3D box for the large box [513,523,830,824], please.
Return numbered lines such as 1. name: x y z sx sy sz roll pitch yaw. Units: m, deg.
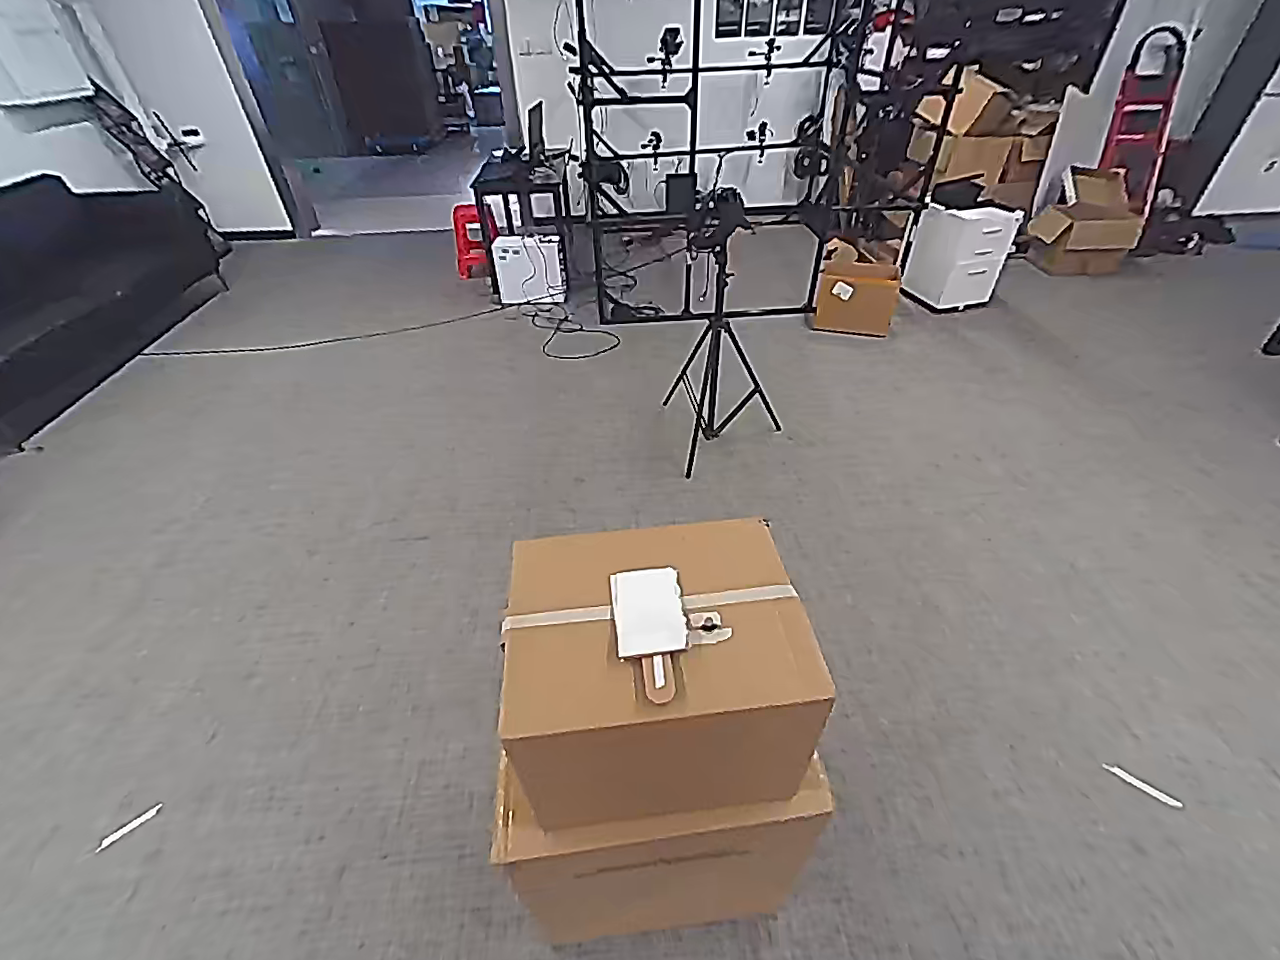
1. large box: 0.026 0.301 0.863 0.408 0.320 0.320 -5 41 -5
